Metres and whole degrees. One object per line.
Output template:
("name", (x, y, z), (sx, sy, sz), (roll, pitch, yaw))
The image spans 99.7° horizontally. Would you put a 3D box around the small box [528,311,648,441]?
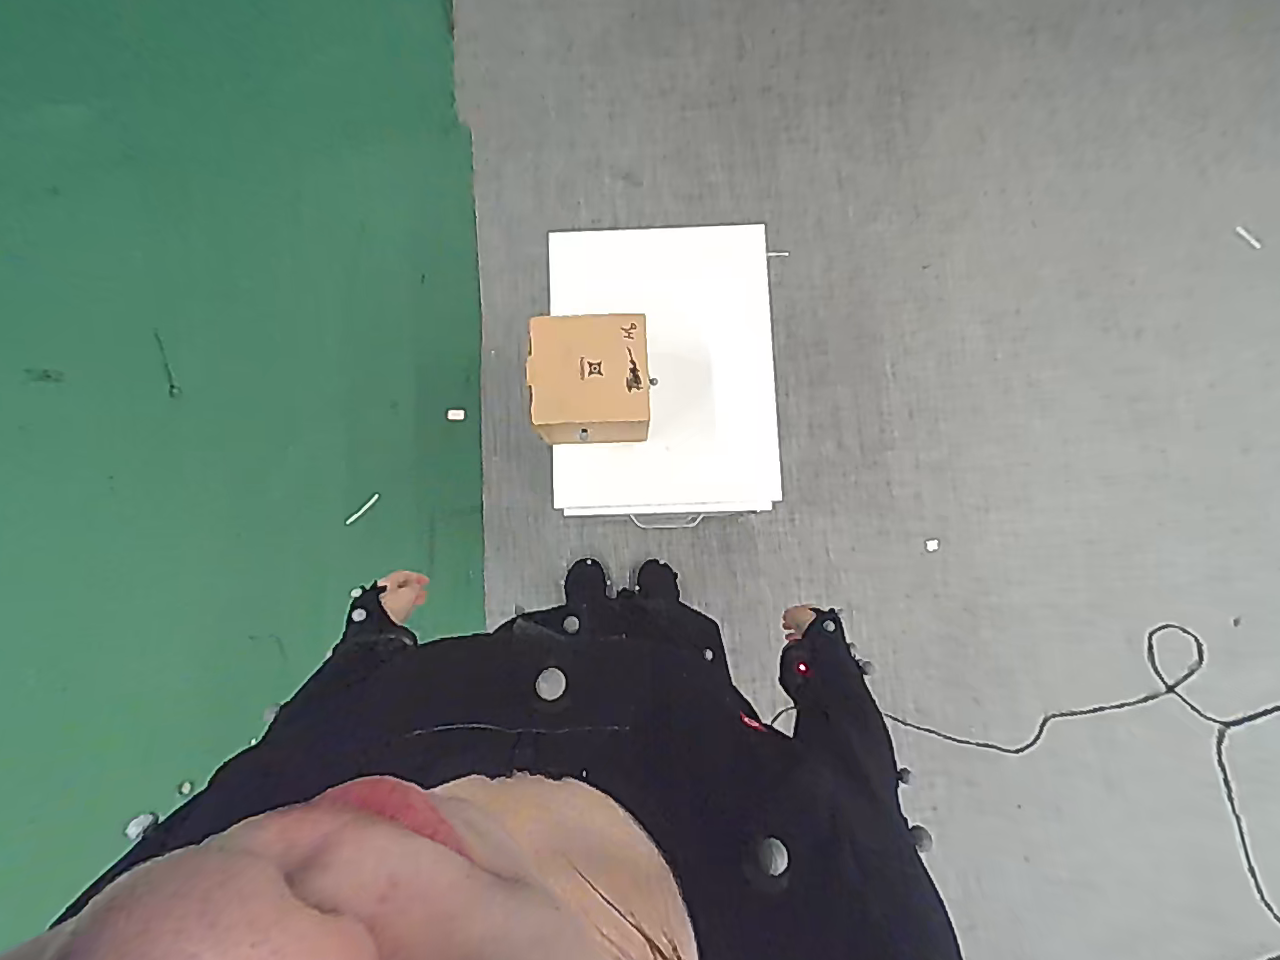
("small box", (-0.077, -0.158, 0.871), (0.179, 0.176, 0.168), (-2, 84, -1))
